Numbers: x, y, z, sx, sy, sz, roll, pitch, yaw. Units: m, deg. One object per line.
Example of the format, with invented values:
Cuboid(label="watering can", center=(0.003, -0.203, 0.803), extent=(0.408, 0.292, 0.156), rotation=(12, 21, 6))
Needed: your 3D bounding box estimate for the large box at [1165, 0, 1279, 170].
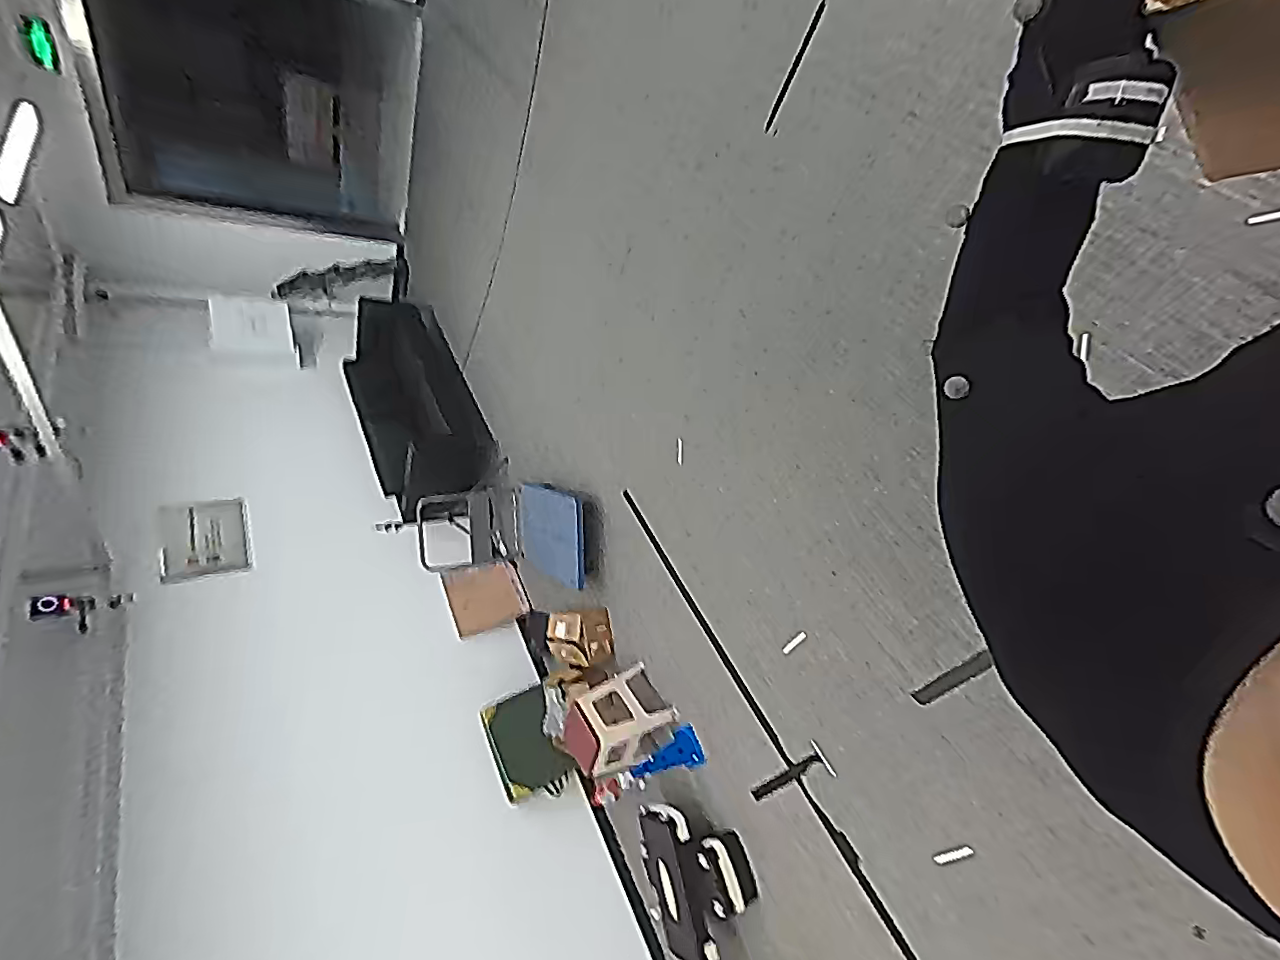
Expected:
Cuboid(label="large box", center=(0.562, -0.407, 0.249), extent=(0.408, 0.320, 0.320), rotation=(15, 103, 50))
